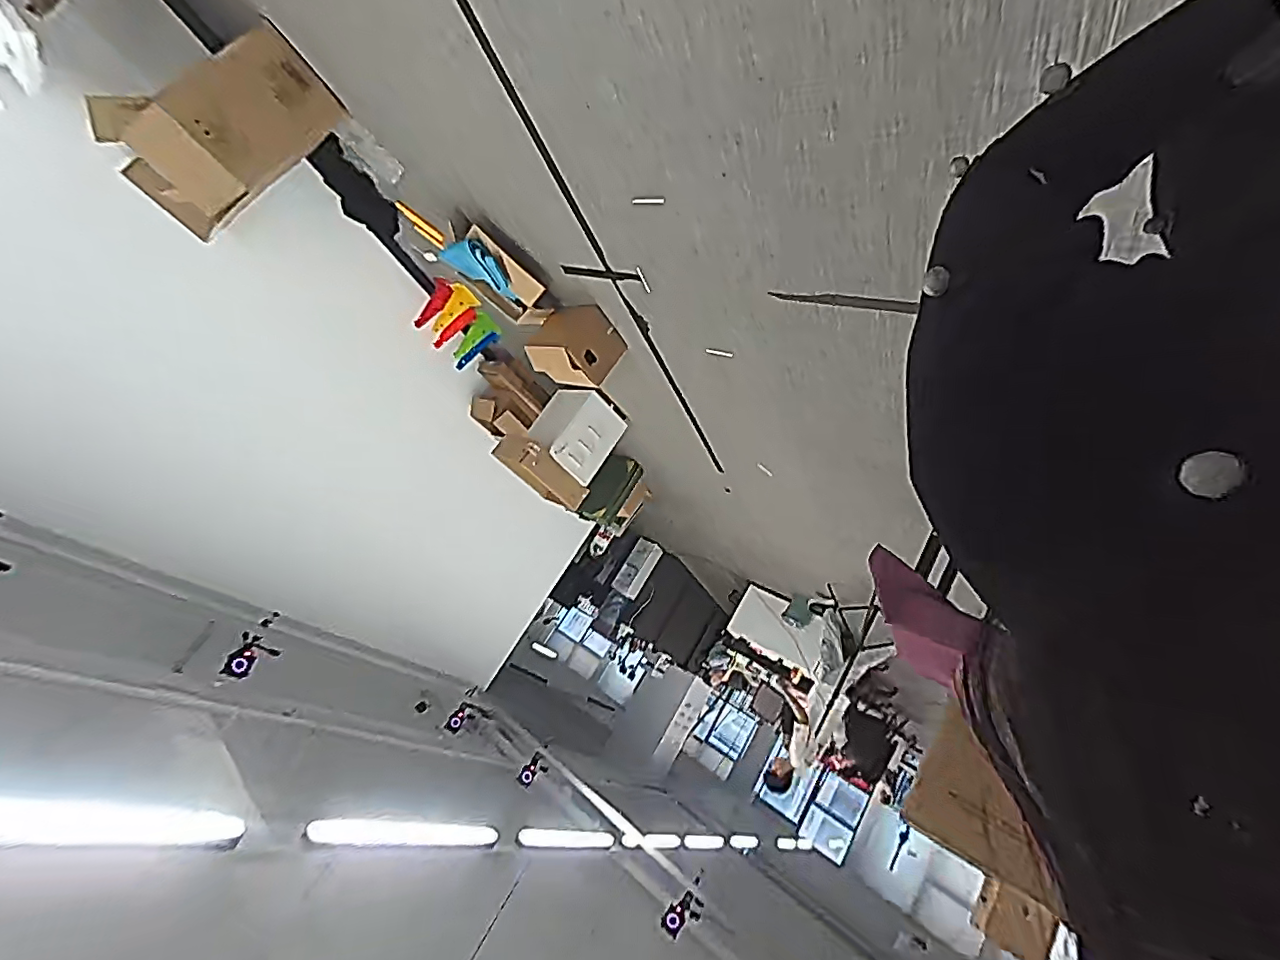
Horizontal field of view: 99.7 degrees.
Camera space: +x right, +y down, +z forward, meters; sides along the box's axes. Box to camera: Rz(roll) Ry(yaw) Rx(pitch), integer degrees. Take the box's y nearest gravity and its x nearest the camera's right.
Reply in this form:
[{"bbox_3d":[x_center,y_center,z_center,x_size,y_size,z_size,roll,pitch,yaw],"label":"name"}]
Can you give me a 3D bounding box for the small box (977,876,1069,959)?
[{"bbox_3d":[1.243,1.440,1.760,0.179,0.176,0.168,27,163,27],"label":"small box"}]
